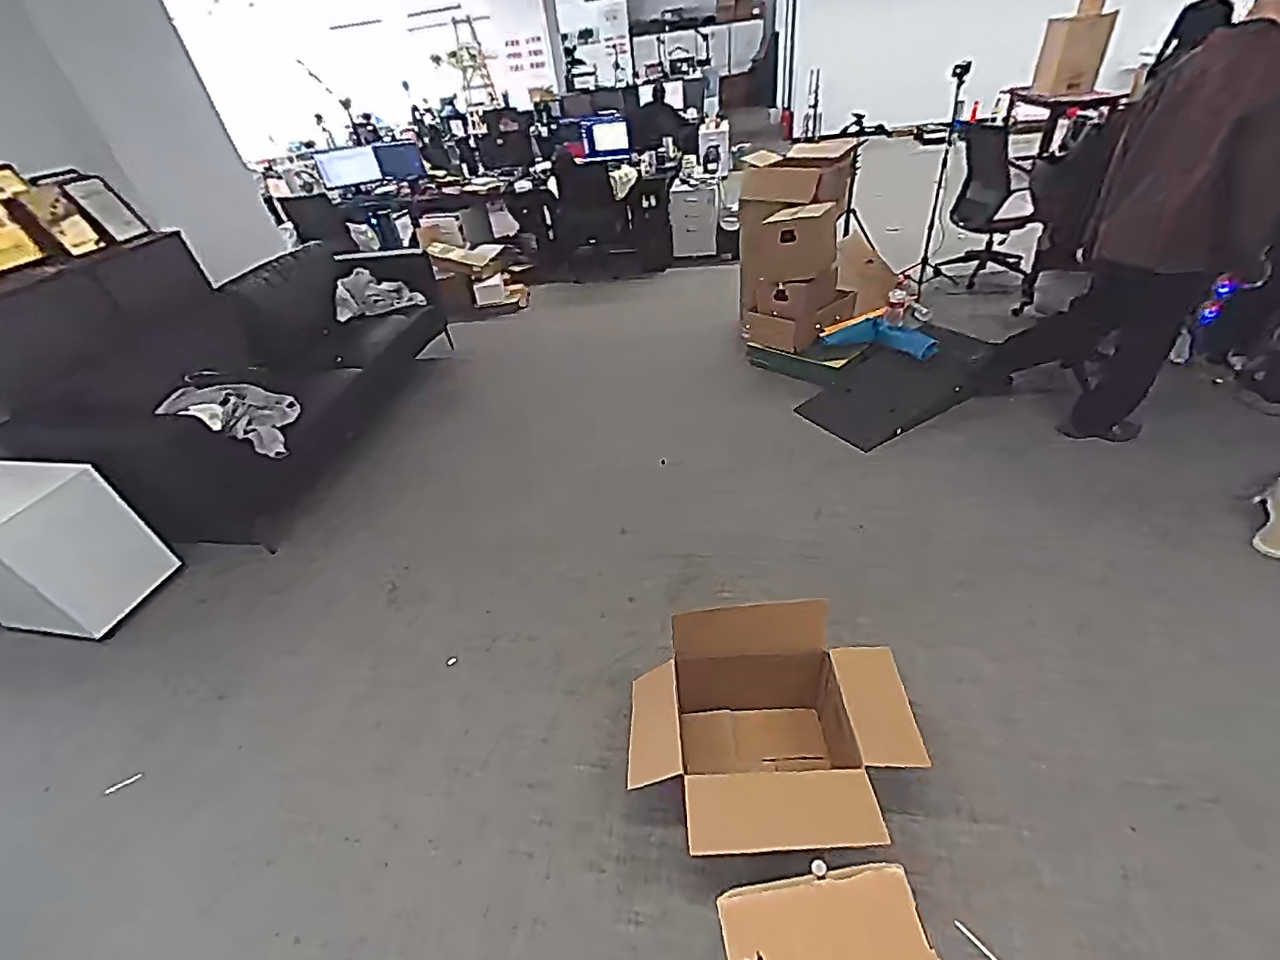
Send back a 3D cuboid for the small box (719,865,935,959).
[{"bbox_3d":[0.185,0.483,0.521,0.179,0.176,0.168,-15,53,5],"label":"small box"}]
